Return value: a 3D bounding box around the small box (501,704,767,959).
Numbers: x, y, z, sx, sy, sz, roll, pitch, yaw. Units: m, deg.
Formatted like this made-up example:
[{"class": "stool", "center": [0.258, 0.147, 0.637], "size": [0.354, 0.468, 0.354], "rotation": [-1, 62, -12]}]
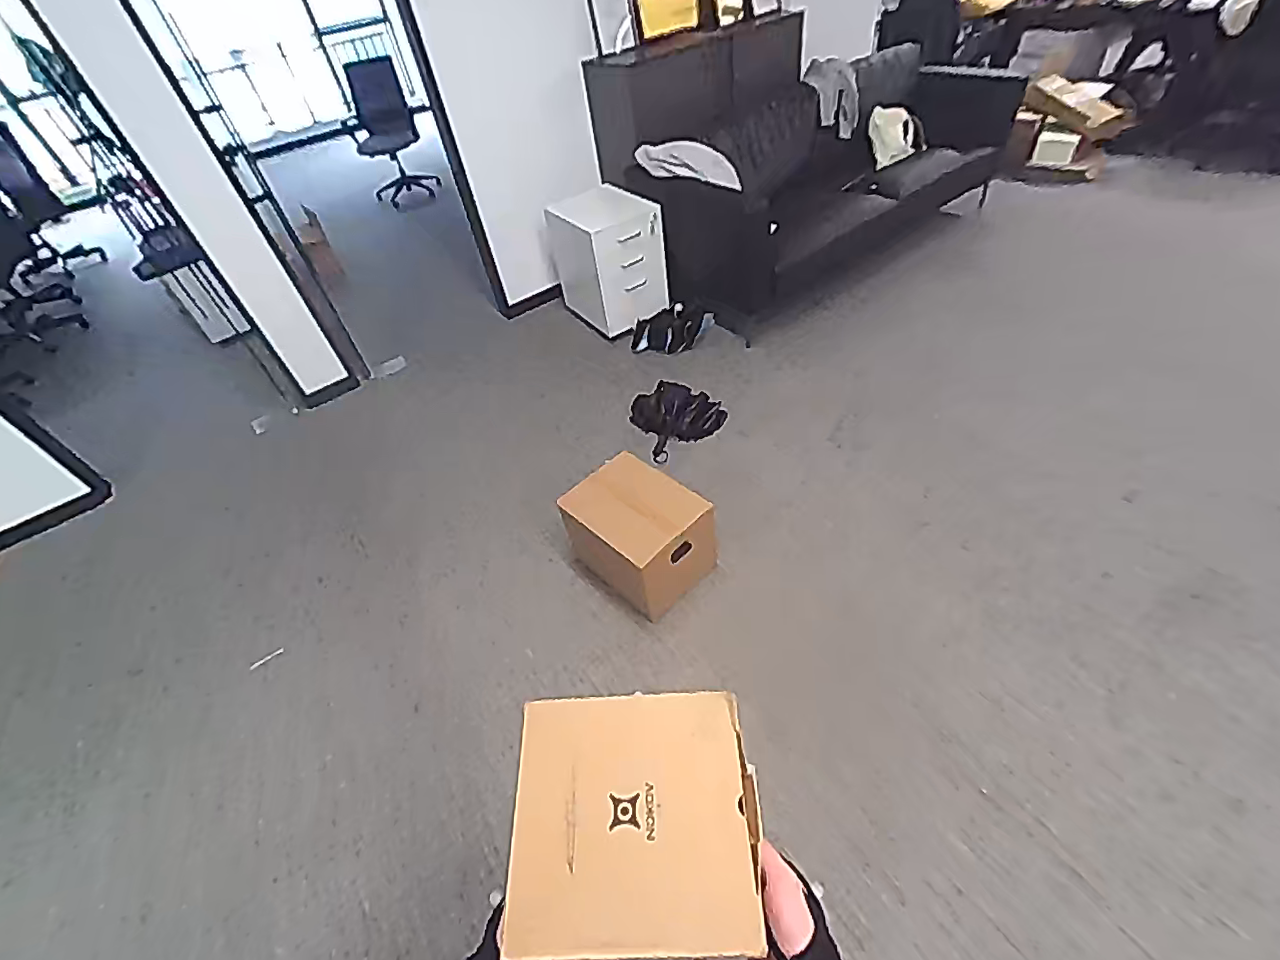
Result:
[{"class": "small box", "center": [0.000, 0.301, 0.457], "size": [0.179, 0.176, 0.168], "rotation": [-6, 50, 4]}]
